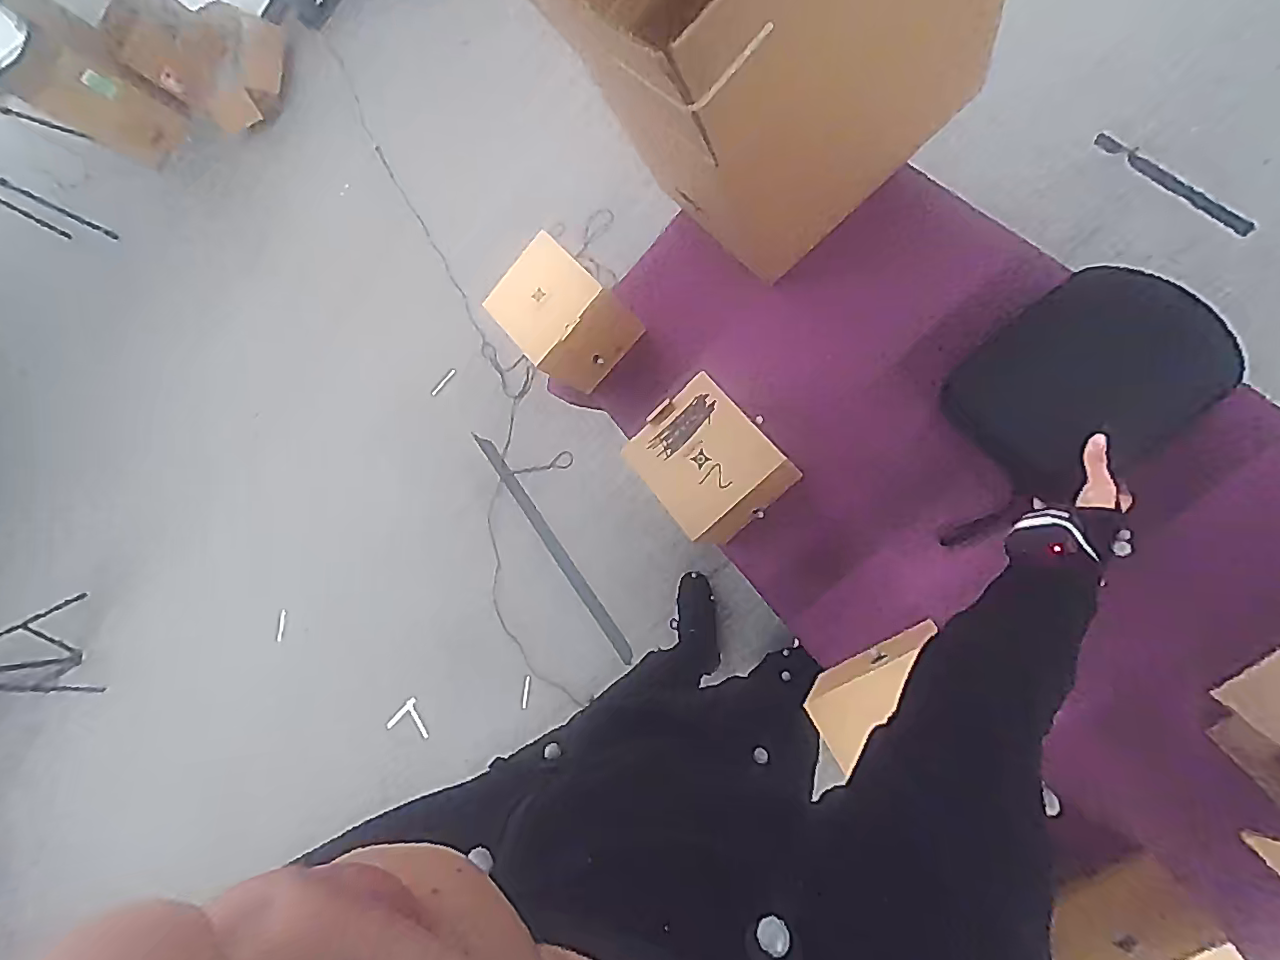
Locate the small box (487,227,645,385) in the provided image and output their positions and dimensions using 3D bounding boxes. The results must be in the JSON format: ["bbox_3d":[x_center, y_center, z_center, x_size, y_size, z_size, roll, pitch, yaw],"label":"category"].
[{"bbox_3d":[-0.123,-0.292,0.947,0.168,0.176,0.179,-46,69,12],"label":"small box"}]
